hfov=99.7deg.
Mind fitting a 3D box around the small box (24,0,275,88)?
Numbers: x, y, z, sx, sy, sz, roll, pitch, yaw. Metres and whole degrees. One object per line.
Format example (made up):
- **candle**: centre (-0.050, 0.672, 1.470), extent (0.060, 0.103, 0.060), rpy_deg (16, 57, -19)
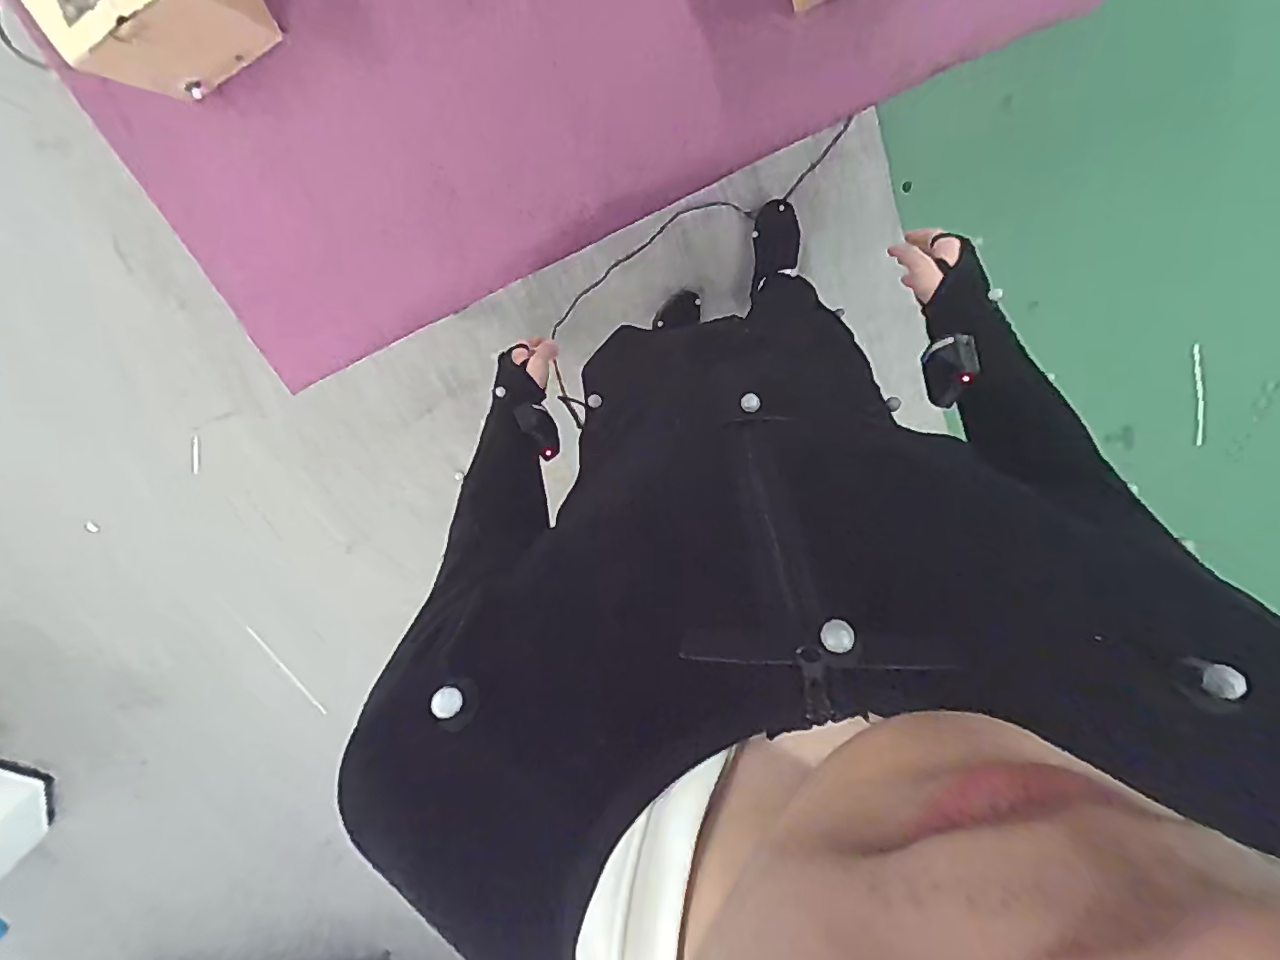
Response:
- **small box**: centre (-0.570, -0.580, 0.608), extent (0.168, 0.176, 0.179), rpy_deg (-23, 110, 12)
